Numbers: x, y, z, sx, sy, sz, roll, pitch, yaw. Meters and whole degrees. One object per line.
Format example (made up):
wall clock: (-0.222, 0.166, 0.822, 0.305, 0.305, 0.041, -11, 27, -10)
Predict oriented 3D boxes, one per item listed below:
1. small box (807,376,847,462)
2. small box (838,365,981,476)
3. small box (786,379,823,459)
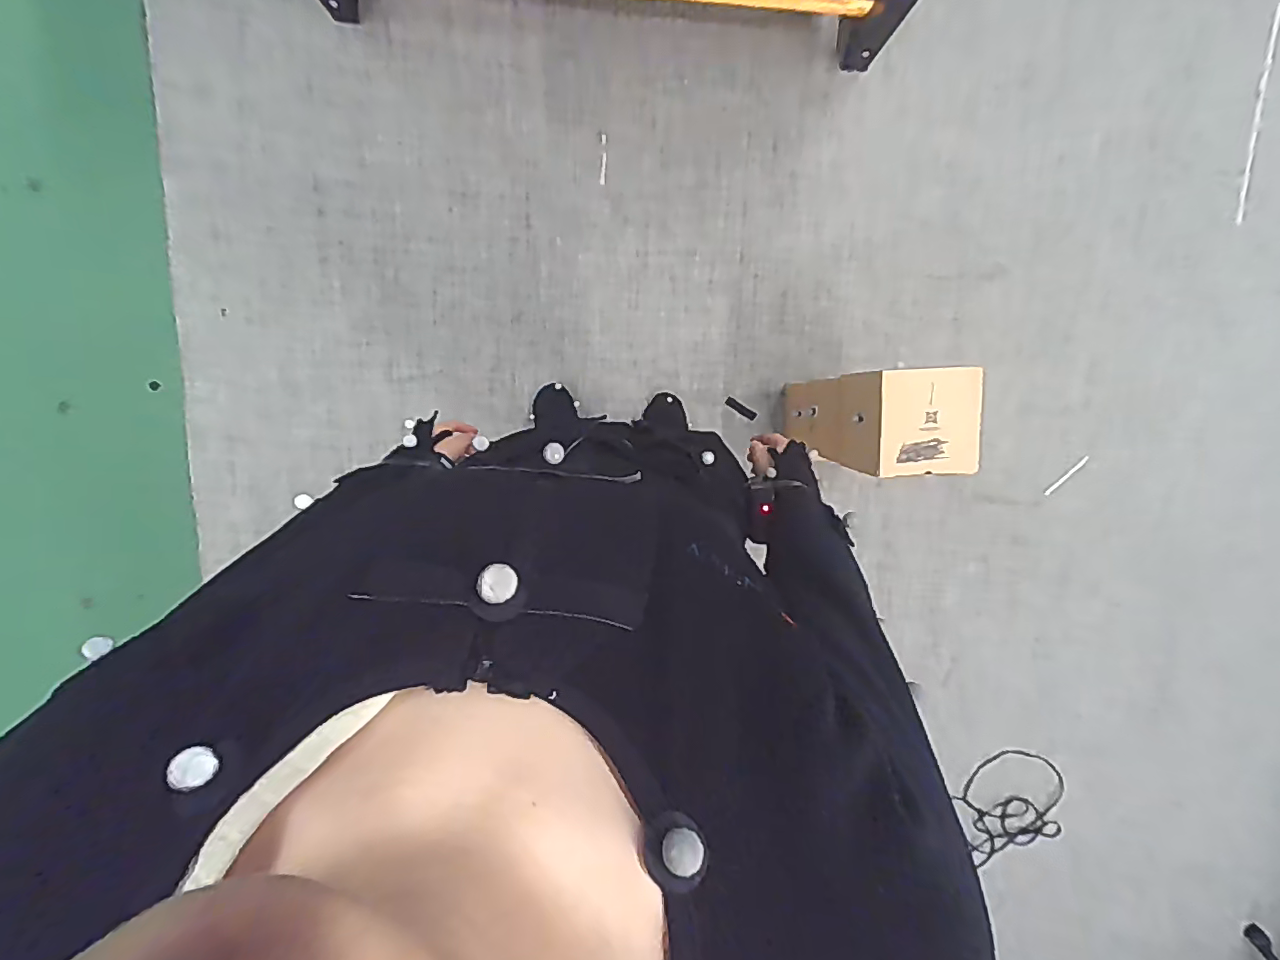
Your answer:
small box: (0.458, -0.131, 1.112, 0.179, 0.176, 0.168, -3, 98, 0)
small box: (0.461, -0.107, 0.949, 0.168, 0.176, 0.179, -2, 98, -2)
small box: (0.447, -0.147, 1.274, 0.168, 0.176, 0.179, -3, 99, -1)
